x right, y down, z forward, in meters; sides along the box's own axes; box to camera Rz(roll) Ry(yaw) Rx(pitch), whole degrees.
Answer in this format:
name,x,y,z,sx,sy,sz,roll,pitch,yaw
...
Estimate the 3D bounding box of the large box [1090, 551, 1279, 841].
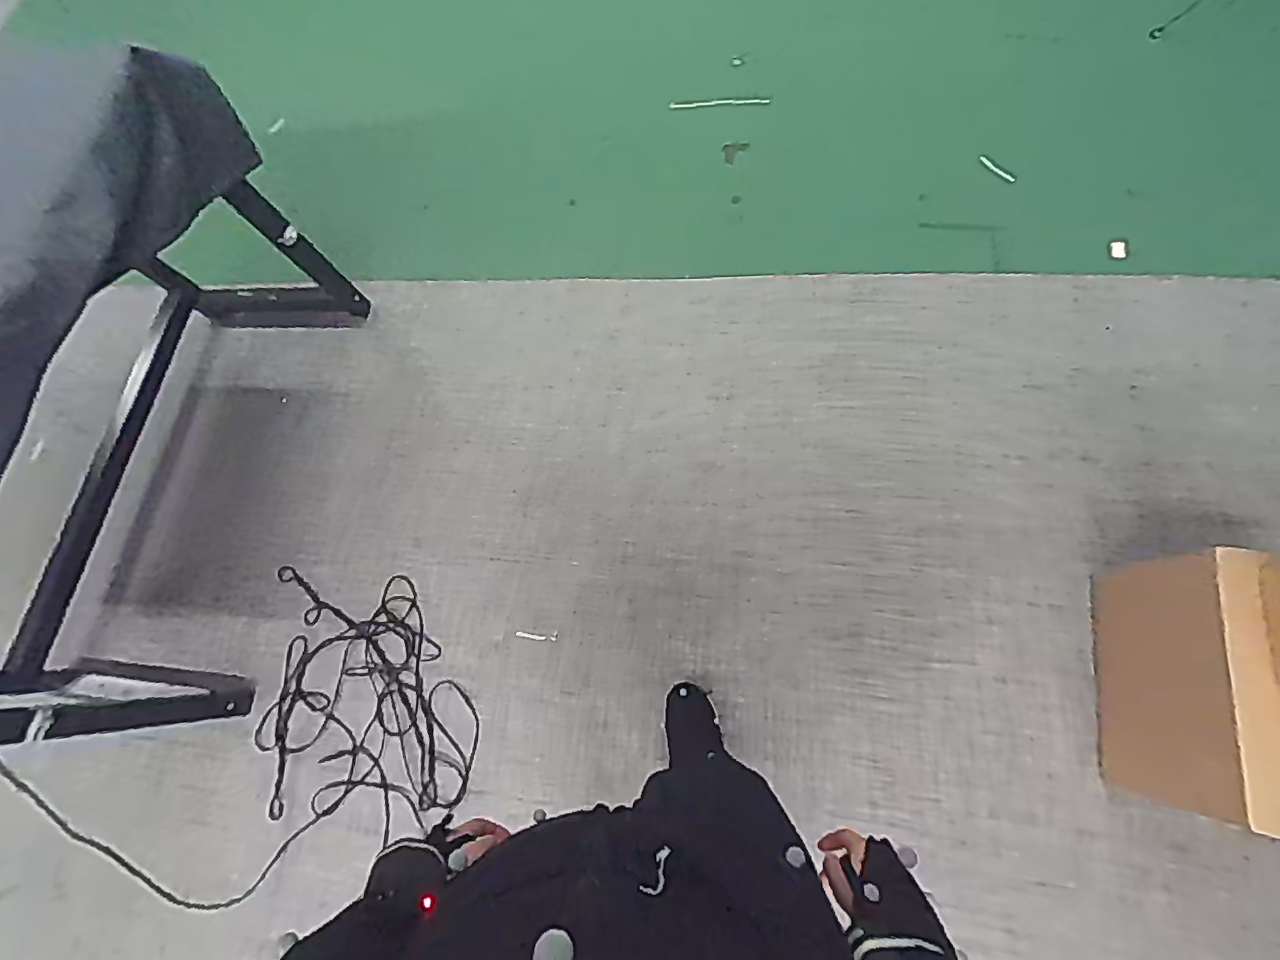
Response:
name,x,y,z,sx,sy,sz,roll,pitch,yaw
large box,1.031,0.355,0.906,0.320,0.320,0.408,6,74,12
